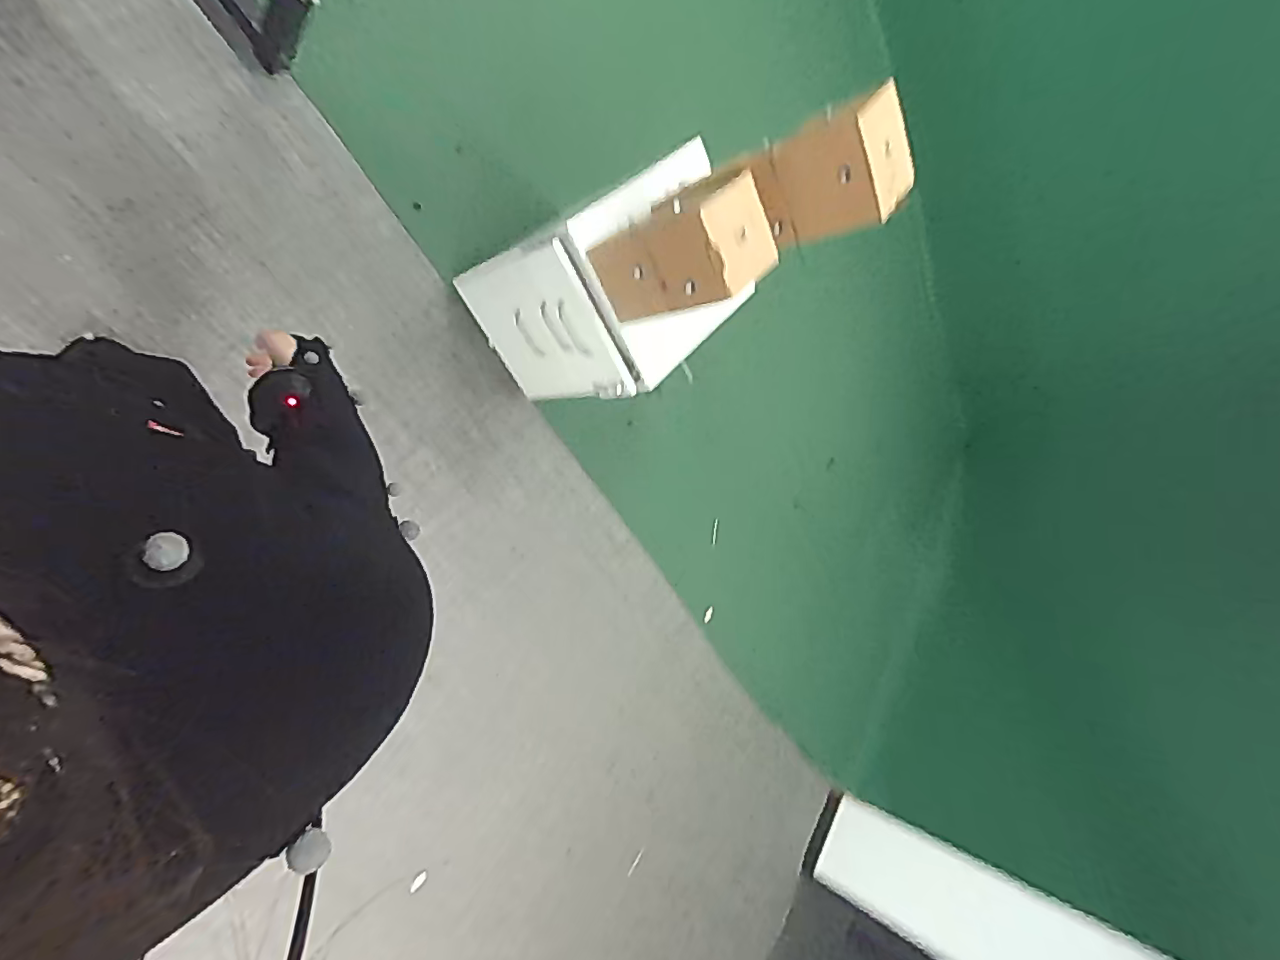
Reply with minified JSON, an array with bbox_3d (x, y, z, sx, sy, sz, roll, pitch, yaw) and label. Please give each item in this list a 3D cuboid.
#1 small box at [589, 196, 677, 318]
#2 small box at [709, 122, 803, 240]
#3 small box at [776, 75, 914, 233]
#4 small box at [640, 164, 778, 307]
[{"bbox_3d":[0.025,-0.461,1.131,0.168,0.176,0.179,-46,123,-30],"label":"small box"},{"bbox_3d":[0.270,-0.604,1.124,0.168,0.176,0.179,-45,123,-31],"label":"small box"},{"bbox_3d":[0.376,-0.591,0.999,0.168,0.176,0.179,-51,126,-26],"label":"small box"},{"bbox_3d":[0.122,-0.442,1.001,0.179,0.176,0.168,-49,125,-29],"label":"small box"}]
